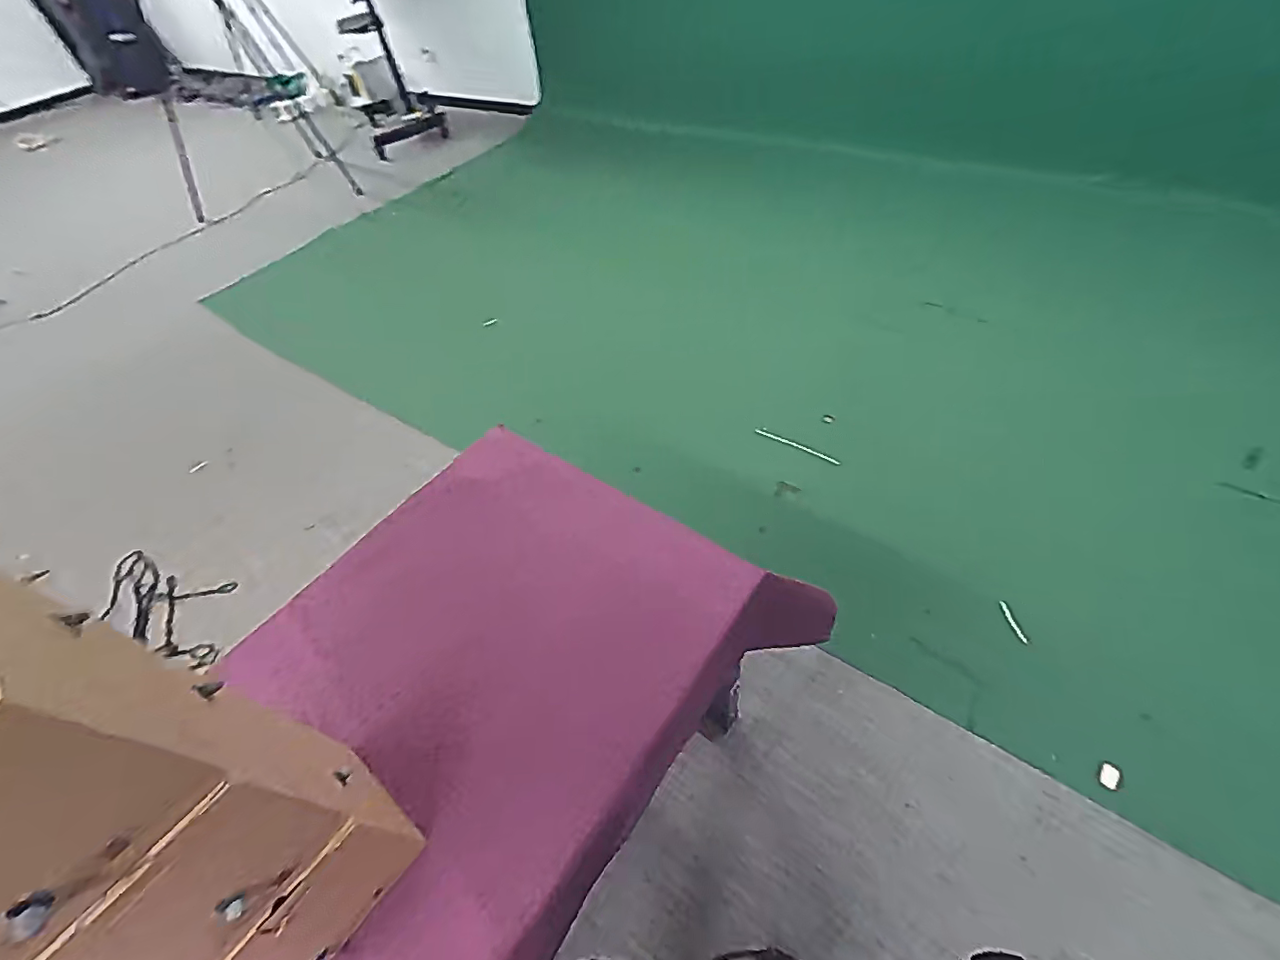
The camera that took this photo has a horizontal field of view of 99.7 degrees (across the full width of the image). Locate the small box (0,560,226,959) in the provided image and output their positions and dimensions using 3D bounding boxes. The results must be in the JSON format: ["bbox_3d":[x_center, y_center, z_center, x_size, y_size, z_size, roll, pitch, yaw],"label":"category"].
[{"bbox_3d":[-0.425,0.179,0.342,0.179,0.176,0.168,28,60,27],"label":"small box"}]

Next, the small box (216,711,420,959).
[{"bbox_3d":[-0.377,0.393,0.586,0.179,0.176,0.168,28,59,28],"label":"small box"}]

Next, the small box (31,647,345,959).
[{"bbox_3d":[-0.403,0.285,0.464,0.179,0.176,0.168,28,60,27],"label":"small box"}]
